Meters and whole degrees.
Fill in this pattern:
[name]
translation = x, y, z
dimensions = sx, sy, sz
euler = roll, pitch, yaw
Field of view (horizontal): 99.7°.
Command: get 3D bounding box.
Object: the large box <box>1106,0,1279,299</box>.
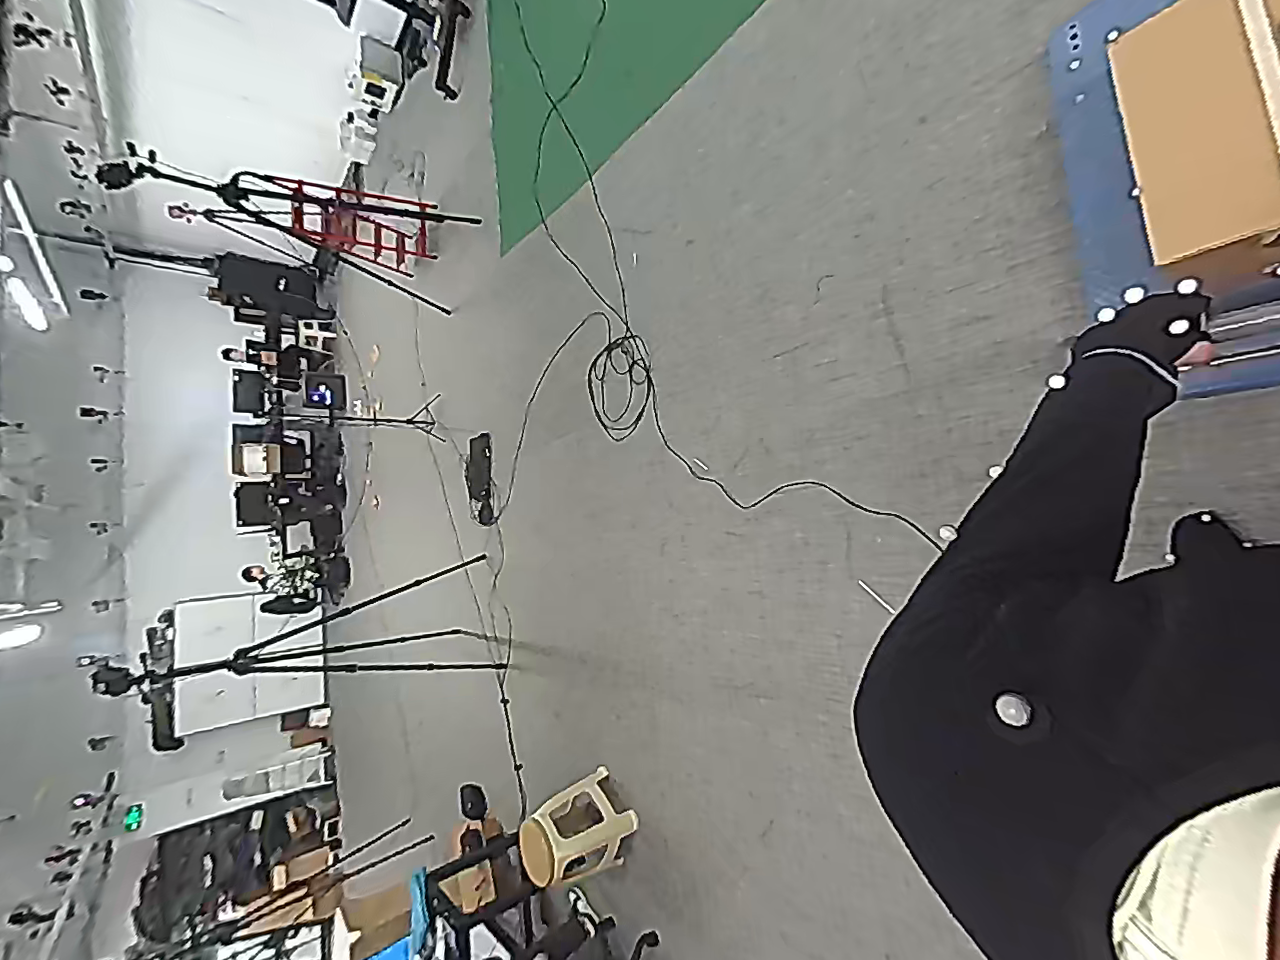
[large box]
translation = 1.039, -0.574, 0.886
dimensions = 0.320, 0.320, 0.408
euler = -14, 79, 49
